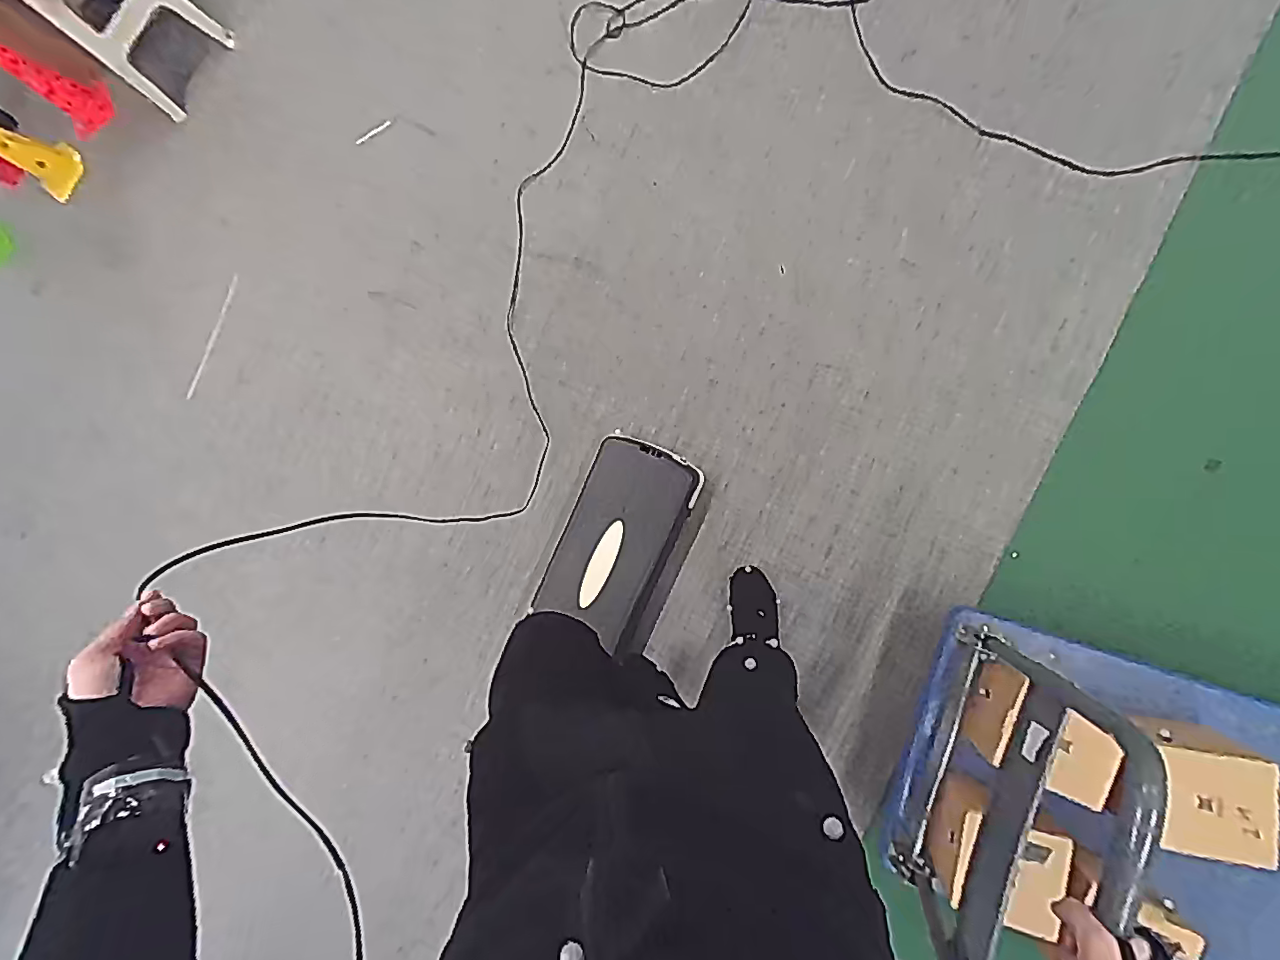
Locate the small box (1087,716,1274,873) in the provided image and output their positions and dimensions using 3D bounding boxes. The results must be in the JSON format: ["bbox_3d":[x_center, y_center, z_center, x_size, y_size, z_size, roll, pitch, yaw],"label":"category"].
[{"bbox_3d":[0.924,0.530,0.943,0.179,0.176,0.168,4,87,15],"label":"small box"}]
